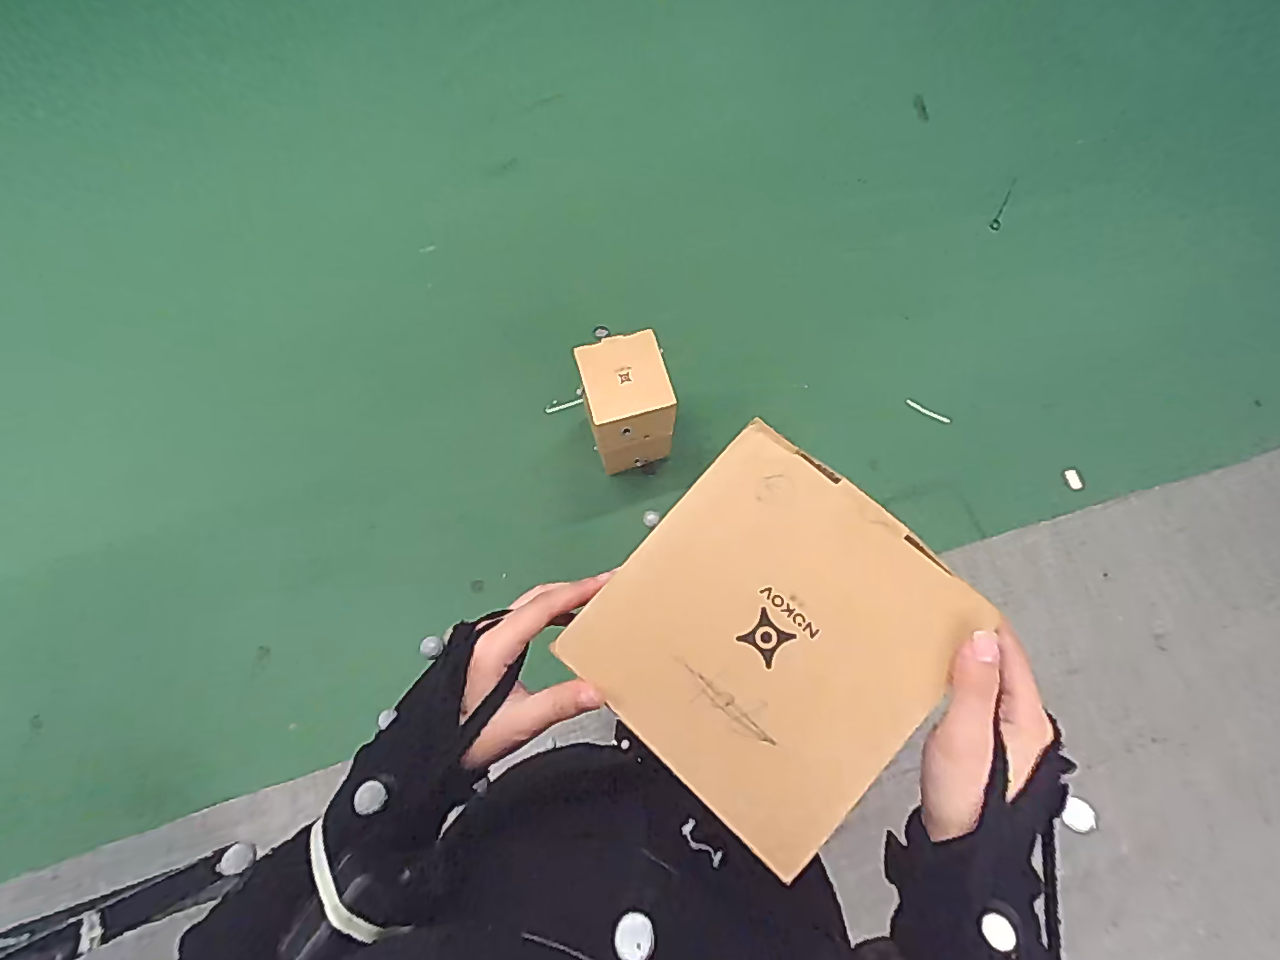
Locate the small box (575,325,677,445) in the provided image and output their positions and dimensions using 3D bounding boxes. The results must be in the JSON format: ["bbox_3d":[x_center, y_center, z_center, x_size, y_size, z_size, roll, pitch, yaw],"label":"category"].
[{"bbox_3d":[-0.026,-0.186,1.124,0.168,0.176,0.179,-16,73,-4],"label":"small box"}]
